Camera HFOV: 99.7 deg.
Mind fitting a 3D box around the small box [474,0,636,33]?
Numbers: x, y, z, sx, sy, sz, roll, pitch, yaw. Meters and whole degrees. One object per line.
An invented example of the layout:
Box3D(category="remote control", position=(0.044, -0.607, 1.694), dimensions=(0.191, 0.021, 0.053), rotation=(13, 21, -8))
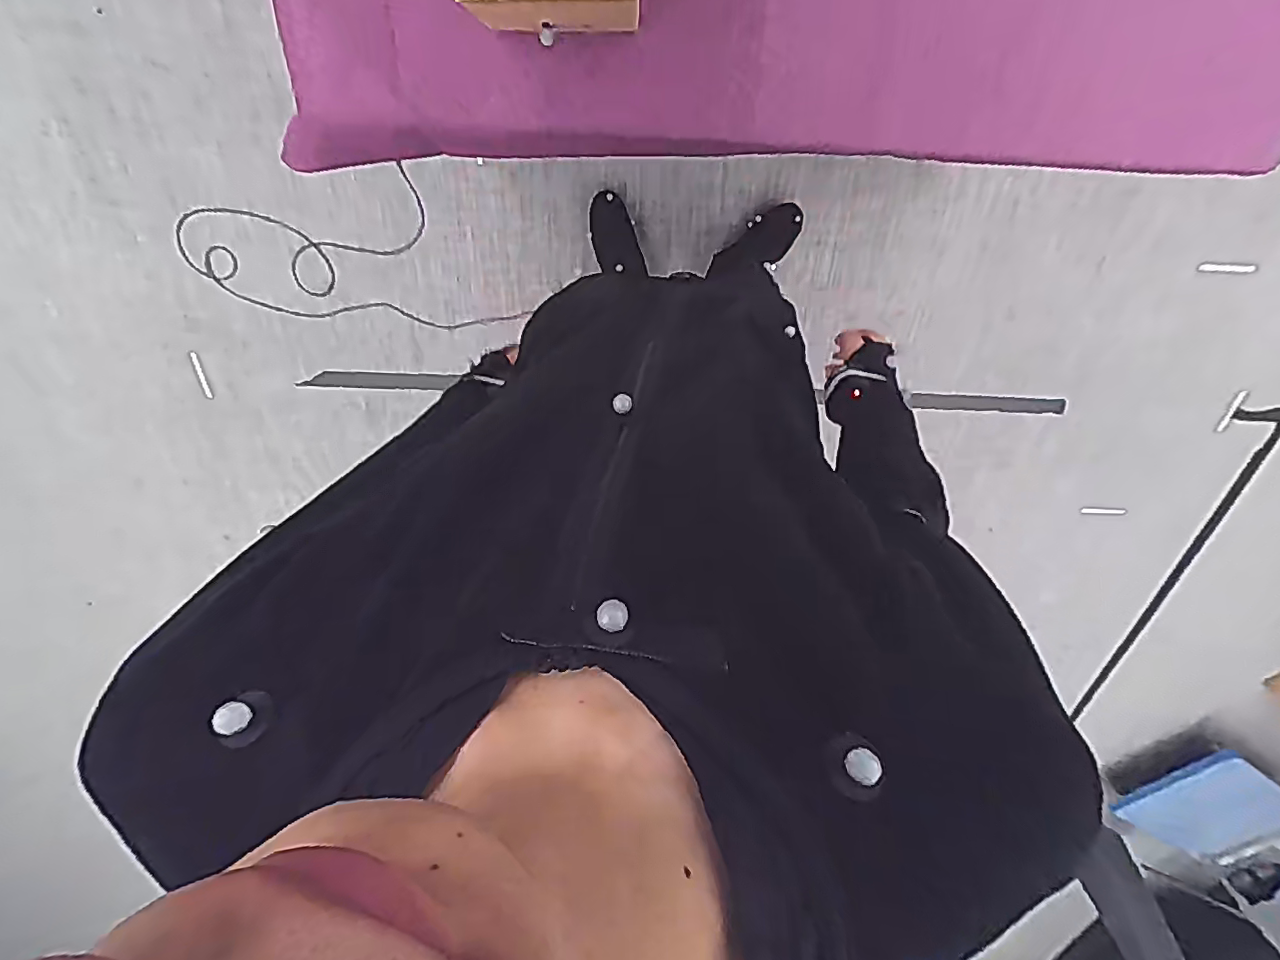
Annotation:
Box3D(category="small box", position=(-0.086, -0.536, 0.492), dimensions=(0.168, 0.176, 0.179), rotation=(0, 122, 0))
